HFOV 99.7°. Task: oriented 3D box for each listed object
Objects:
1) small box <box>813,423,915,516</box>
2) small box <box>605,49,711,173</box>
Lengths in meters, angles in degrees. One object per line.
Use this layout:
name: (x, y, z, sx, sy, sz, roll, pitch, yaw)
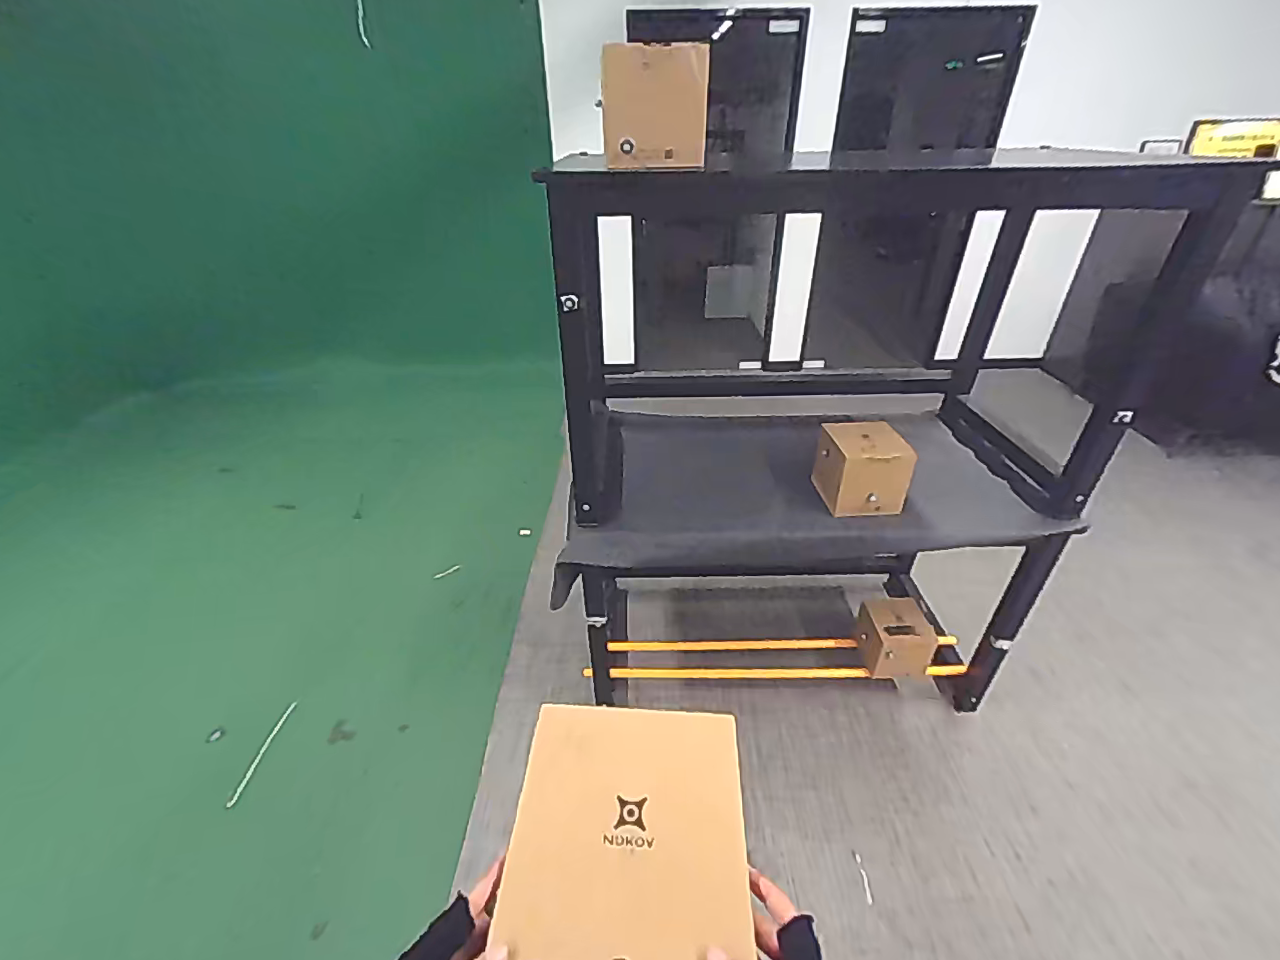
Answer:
small box: (0.543, -0.028, 1.340, 0.168, 0.176, 0.179, -2, 32, -2)
small box: (0.026, -0.639, 0.950, 0.168, 0.176, 0.179, -3, 32, -4)
